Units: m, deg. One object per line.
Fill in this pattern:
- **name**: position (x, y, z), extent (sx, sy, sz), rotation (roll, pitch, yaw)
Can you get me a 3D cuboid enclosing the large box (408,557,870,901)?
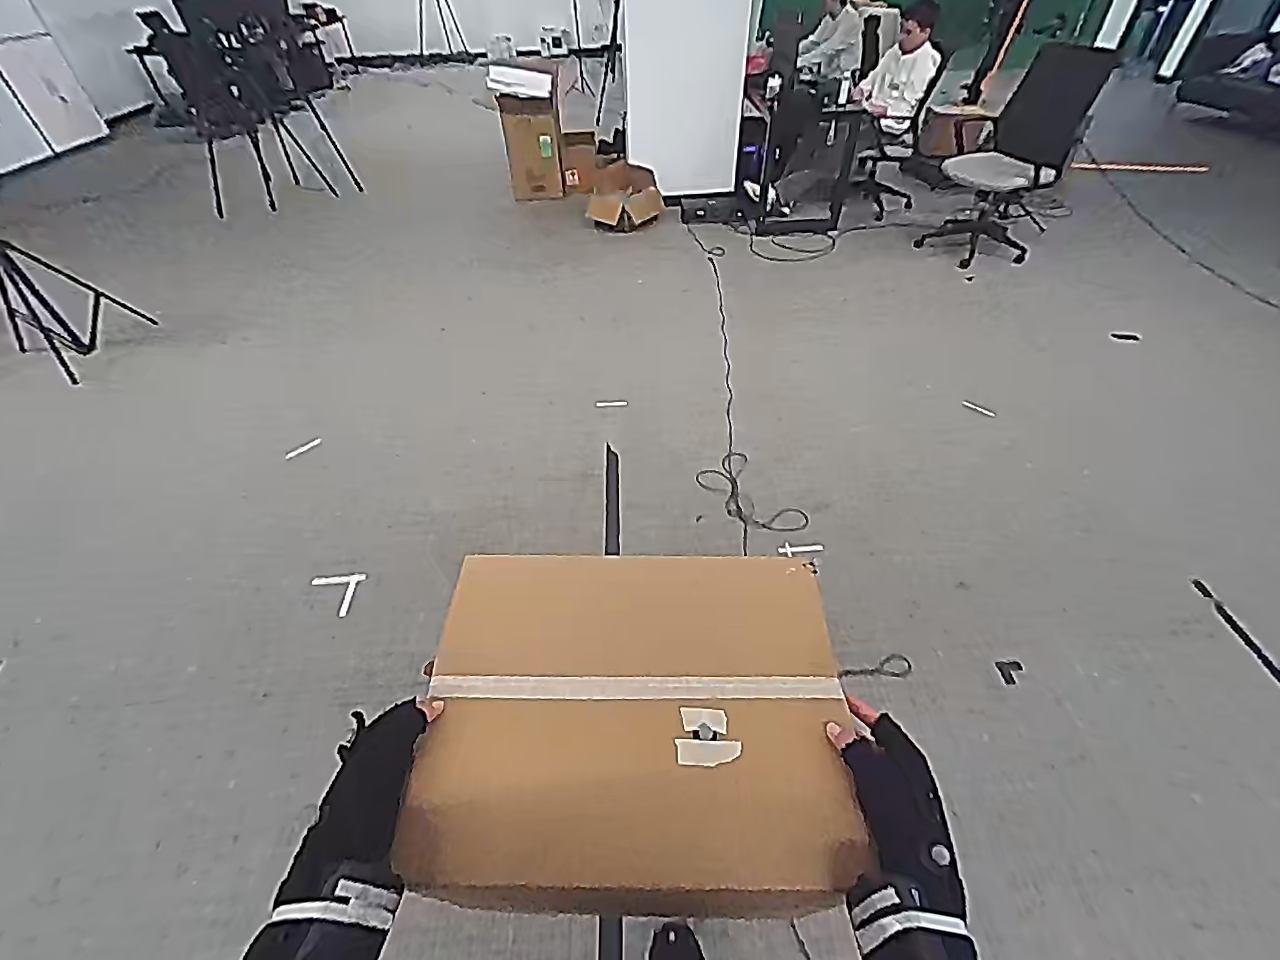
- **large box**: position (-0.003, 0.308, 0.666), extent (0.408, 0.320, 0.320), rotation (0, 49, 0)
